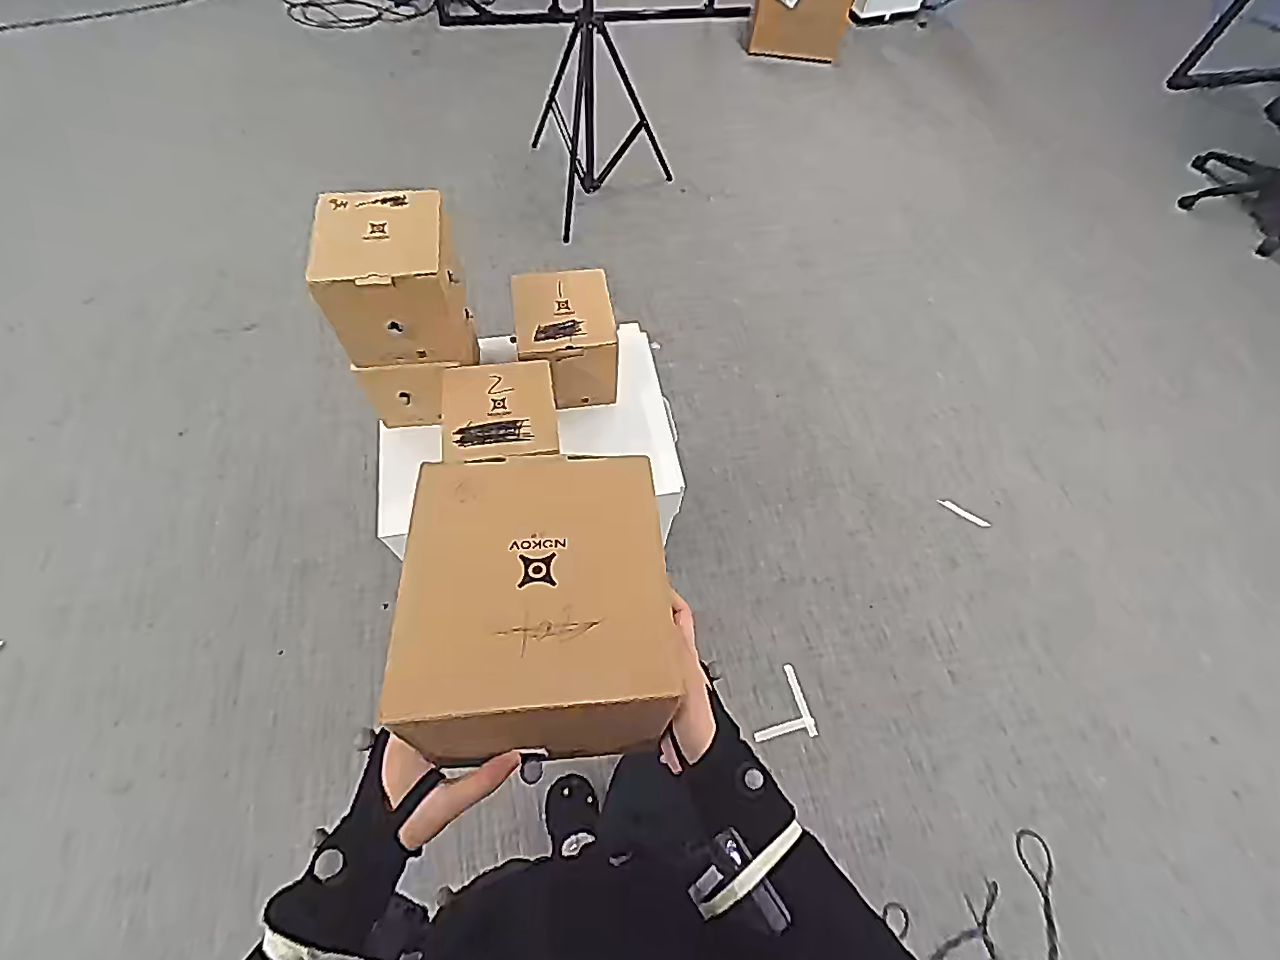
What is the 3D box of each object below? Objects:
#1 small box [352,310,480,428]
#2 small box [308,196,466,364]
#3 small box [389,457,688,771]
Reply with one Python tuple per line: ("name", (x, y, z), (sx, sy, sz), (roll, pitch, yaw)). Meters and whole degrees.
("small box", (-0.375, -0.203, 0.939), (0.168, 0.176, 0.179), (-5, 63, -8))
("small box", (-0.358, -0.286, 0.799), (0.168, 0.176, 0.179), (-6, 64, -8))
("small box", (-0.068, 0.102, 0.408), (0.168, 0.176, 0.179), (-3, 54, -7))
